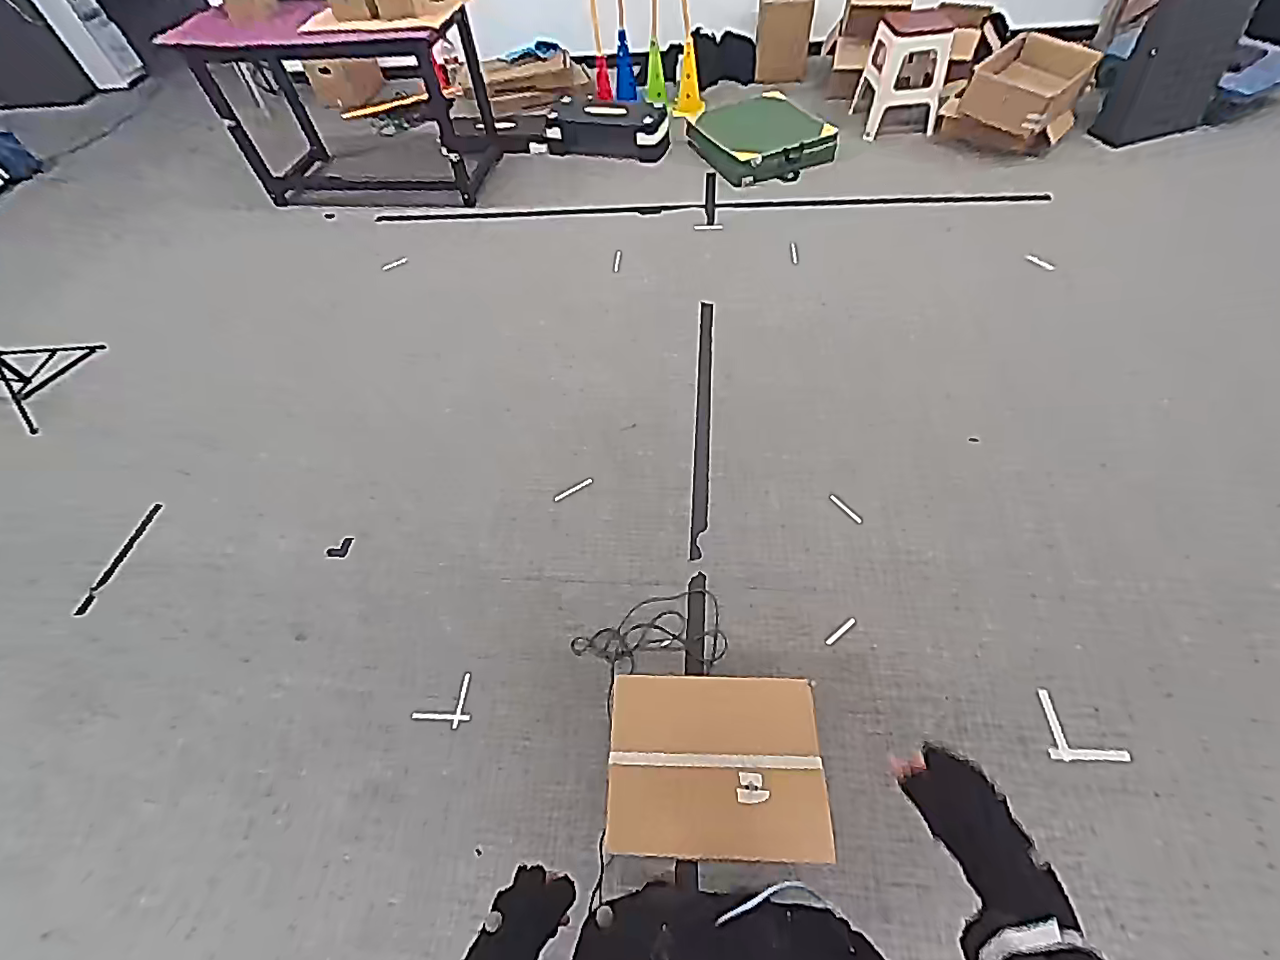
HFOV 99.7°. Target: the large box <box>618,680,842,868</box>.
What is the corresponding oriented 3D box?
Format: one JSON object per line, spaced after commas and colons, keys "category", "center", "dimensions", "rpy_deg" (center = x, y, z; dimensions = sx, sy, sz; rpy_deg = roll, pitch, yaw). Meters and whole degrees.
{"category": "large box", "center": [0.167, 0.633, 1.156], "dimensions": [0.408, 0.320, 0.320], "rpy_deg": [1, 55, 4]}
